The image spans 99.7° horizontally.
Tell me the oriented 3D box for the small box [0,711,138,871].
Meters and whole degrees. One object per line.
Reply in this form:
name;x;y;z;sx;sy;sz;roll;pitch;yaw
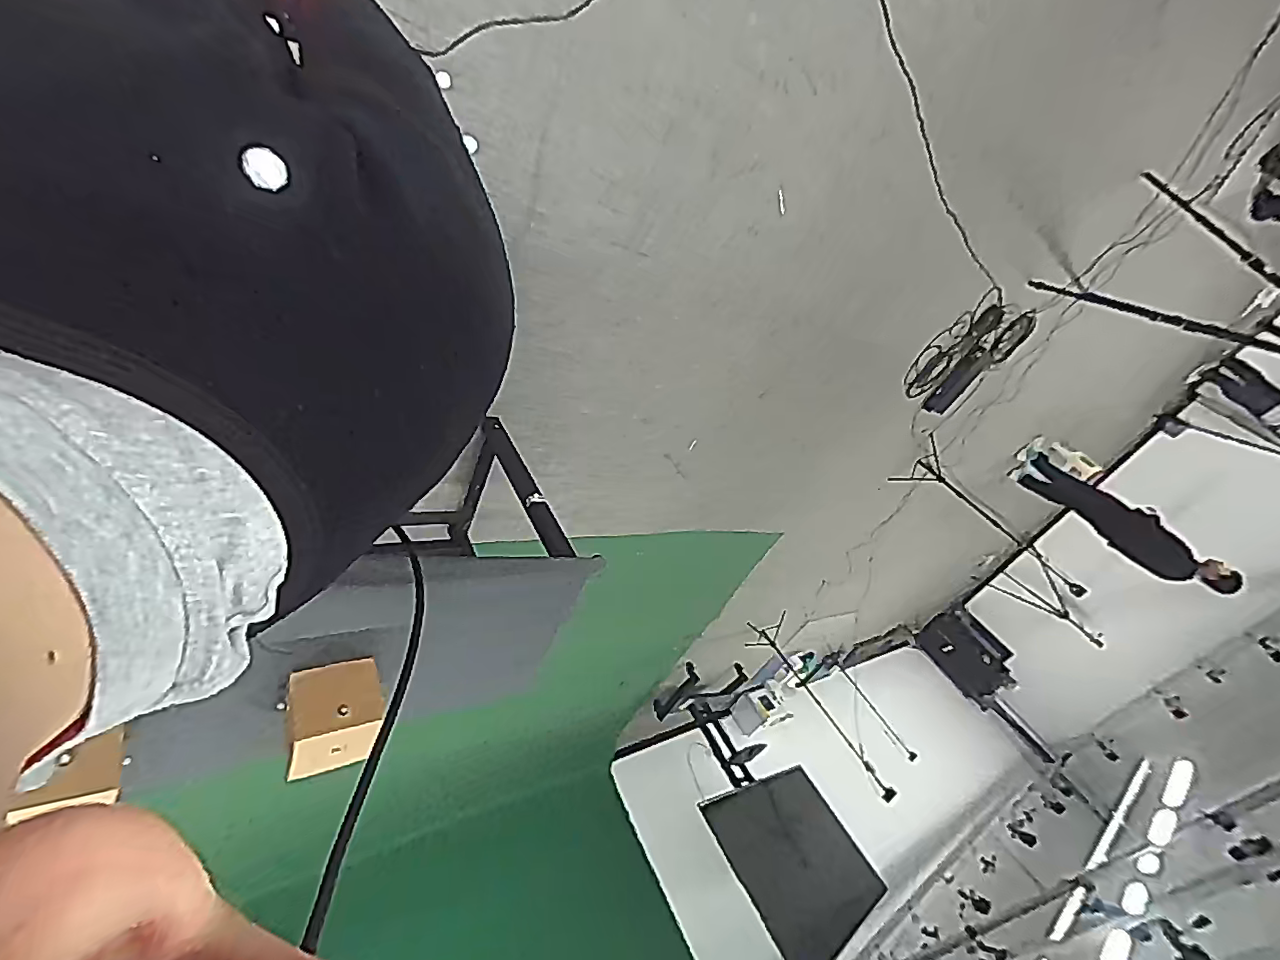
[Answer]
small box;-1.012;0.536;0.953;0.179;0.176;0.168;6;126;-44

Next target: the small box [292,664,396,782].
small box;-0.682;0.546;1.238;0.179;0.176;0.168;1;128;-38
